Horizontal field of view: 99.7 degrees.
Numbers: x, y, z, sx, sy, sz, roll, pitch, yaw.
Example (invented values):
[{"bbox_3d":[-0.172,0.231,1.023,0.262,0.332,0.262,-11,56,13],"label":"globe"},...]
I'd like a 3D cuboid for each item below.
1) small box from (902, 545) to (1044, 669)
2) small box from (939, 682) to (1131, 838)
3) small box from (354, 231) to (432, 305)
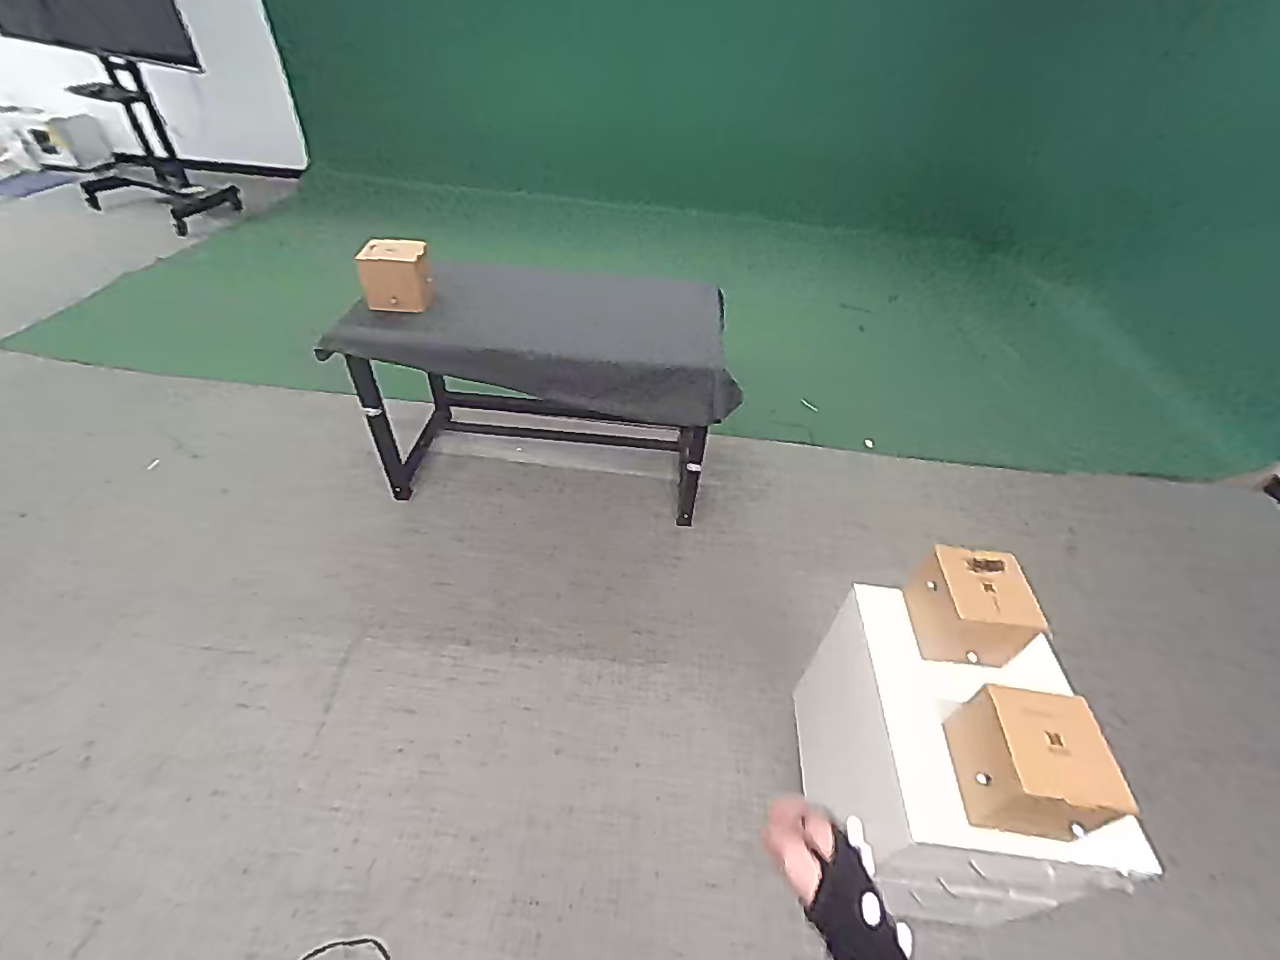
[{"bbox_3d":[0.668,0.262,1.114,0.168,0.176,0.179,7,46,1],"label":"small box"},{"bbox_3d":[0.636,0.469,0.900,0.168,0.176,0.179,9,42,1],"label":"small box"},{"bbox_3d":[-0.782,-0.677,1.733,0.179,0.176,0.168,2,43,-6],"label":"small box"}]
